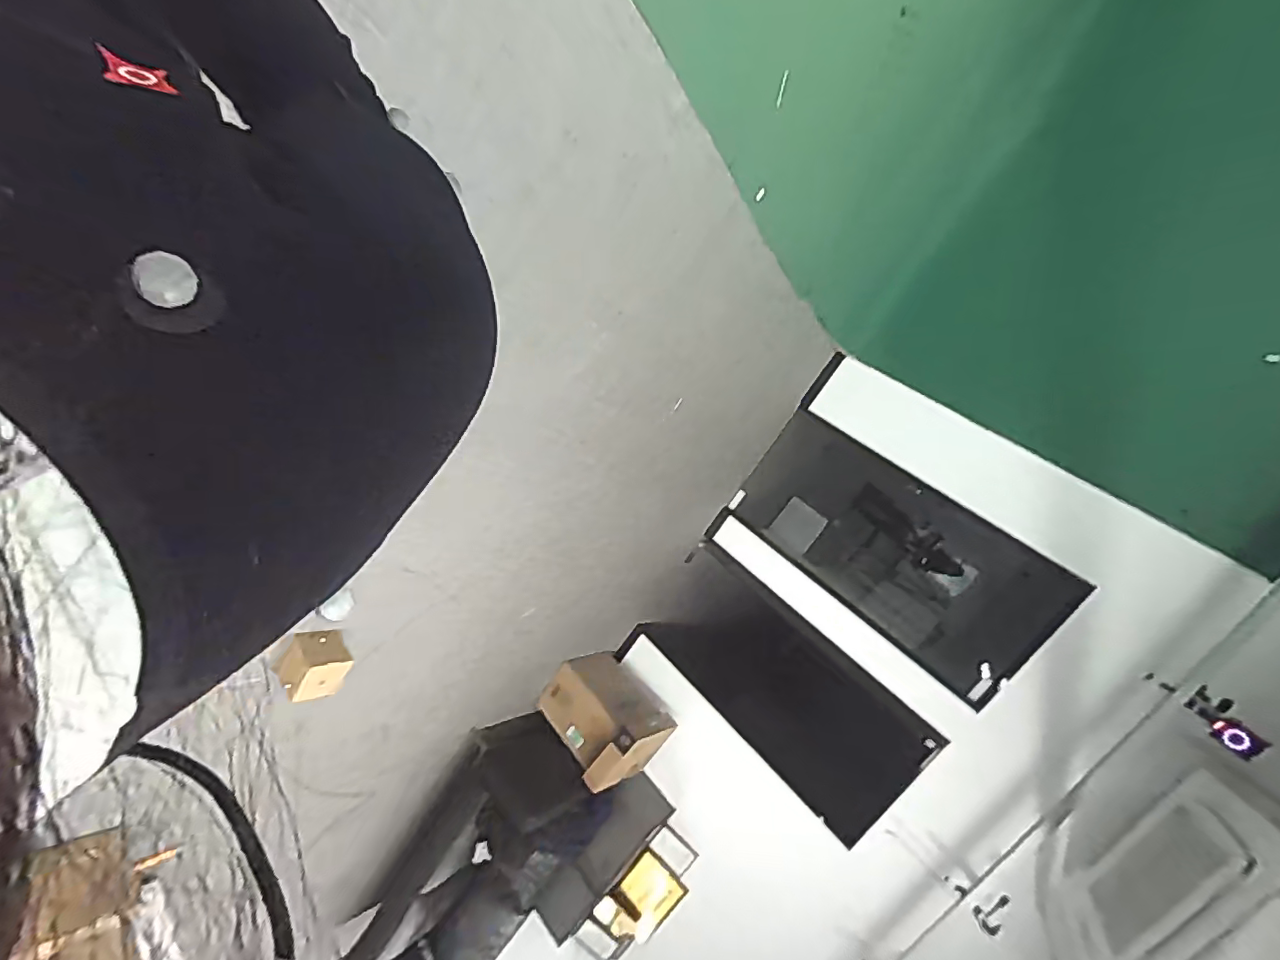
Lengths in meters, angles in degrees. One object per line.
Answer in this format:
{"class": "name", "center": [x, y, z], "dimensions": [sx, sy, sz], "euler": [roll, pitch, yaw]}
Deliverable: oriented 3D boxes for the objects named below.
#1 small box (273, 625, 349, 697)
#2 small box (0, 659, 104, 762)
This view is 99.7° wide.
{"class": "small box", "center": [-1.233, 0.670, 2.018], "dimensions": [0.179, 0.176, 0.168], "euler": [-56, 152, 12]}
{"class": "small box", "center": [-1.583, 0.602, 1.433], "dimensions": [0.168, 0.176, 0.179], "euler": [-56, 152, 12]}
